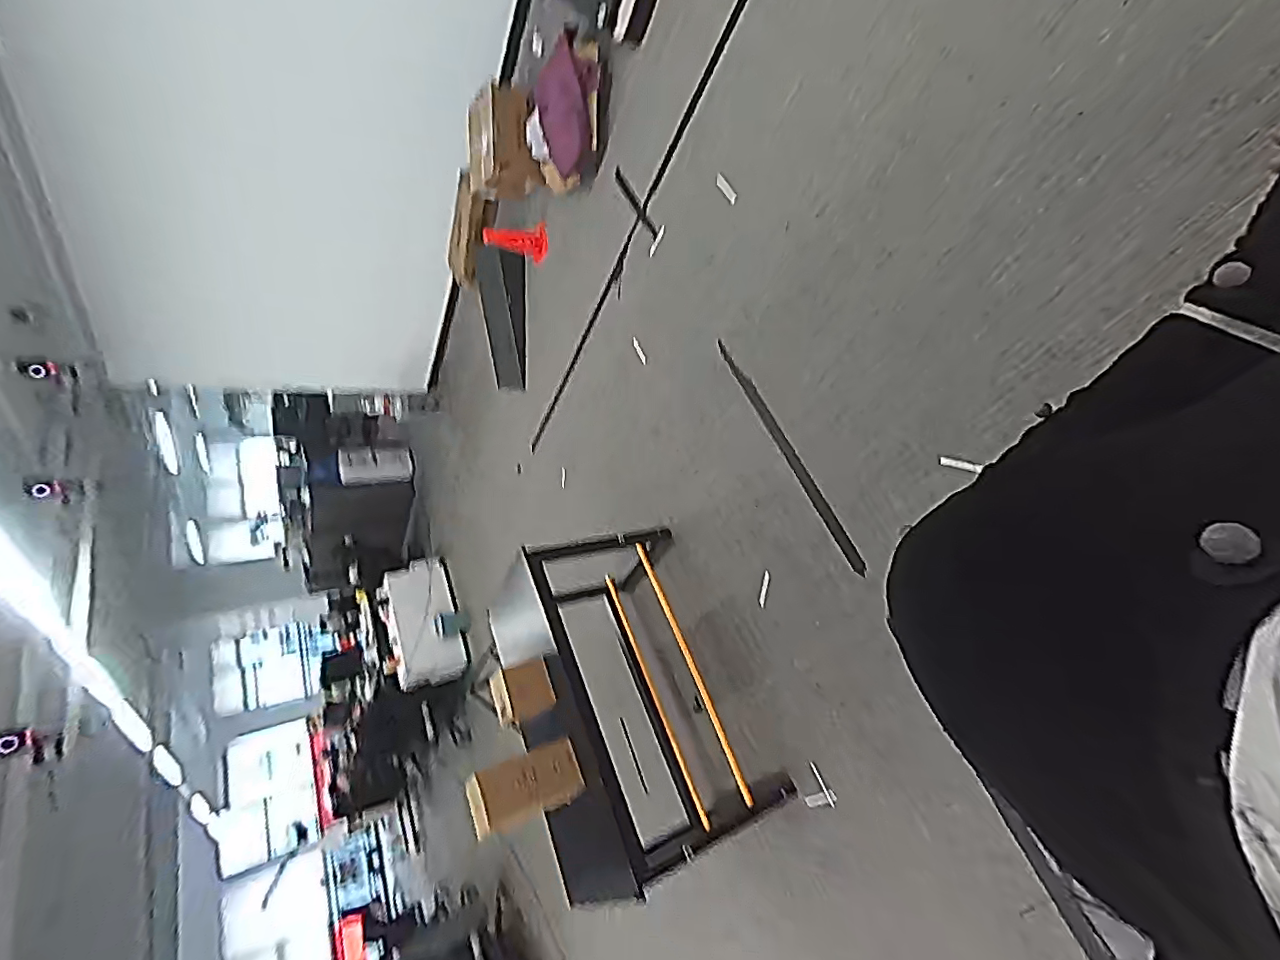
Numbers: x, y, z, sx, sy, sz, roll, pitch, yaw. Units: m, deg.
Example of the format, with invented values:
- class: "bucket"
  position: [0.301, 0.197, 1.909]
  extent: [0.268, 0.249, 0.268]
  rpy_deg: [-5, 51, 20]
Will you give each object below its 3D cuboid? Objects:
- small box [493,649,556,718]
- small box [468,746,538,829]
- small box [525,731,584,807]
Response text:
- class: "small box"
  position: [-0.428, 0.754, 2.007]
  extent: [0.168, 0.176, 0.179]
  rpy_deg: [-53, 52, 45]
- class: "small box"
  position: [-0.451, 1.012, 1.784]
  extent: [0.168, 0.176, 0.179]
  rpy_deg: [61, 139, 30]
- class: "small box"
  position: [-0.312, 0.997, 1.874]
  extent: [0.168, 0.176, 0.179]
  rpy_deg: [62, 139, 29]
